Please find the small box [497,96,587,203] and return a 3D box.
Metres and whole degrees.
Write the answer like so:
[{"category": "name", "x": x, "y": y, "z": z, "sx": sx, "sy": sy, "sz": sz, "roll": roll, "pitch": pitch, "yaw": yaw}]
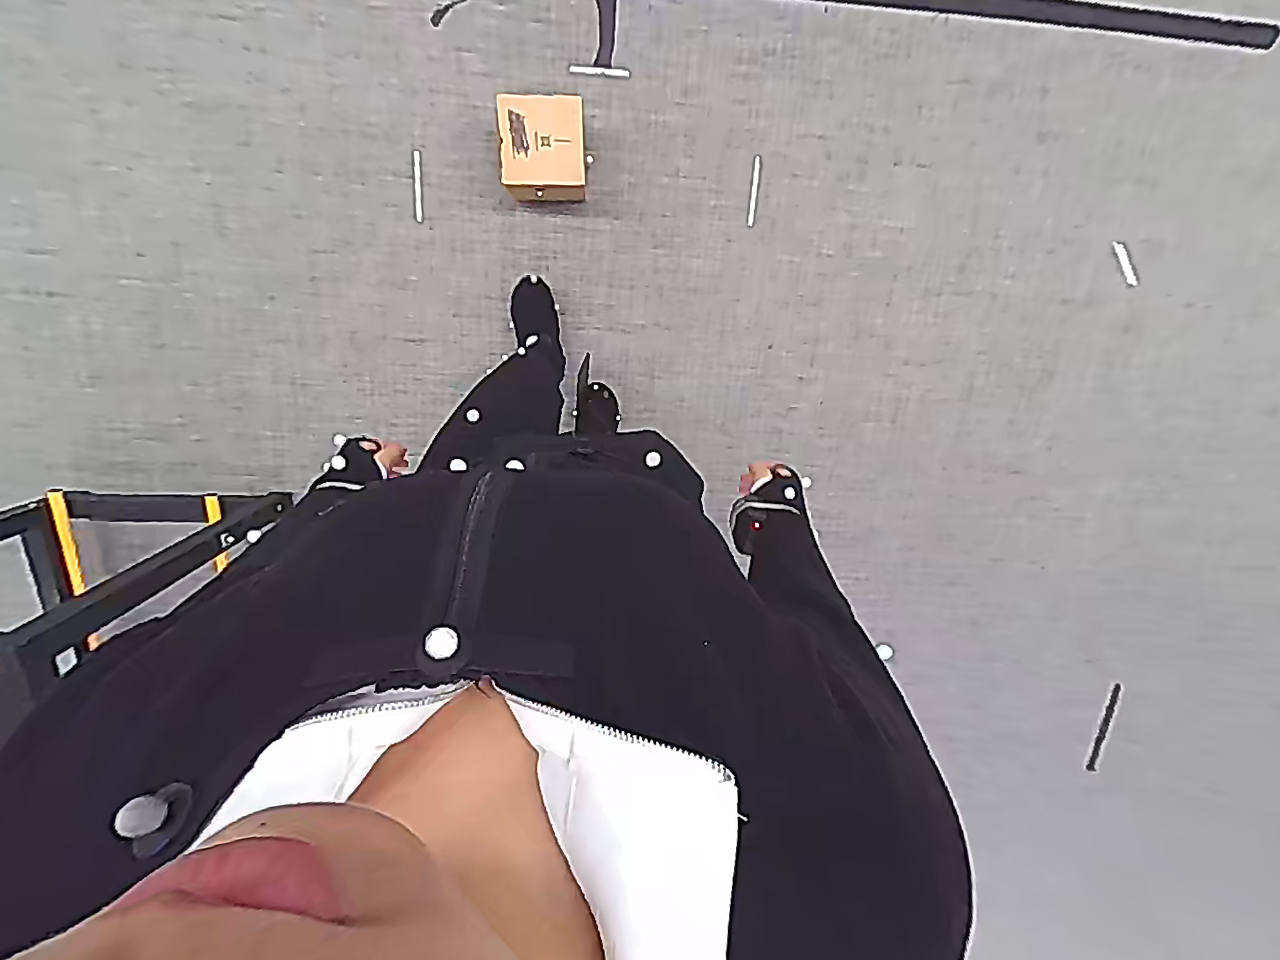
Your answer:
[{"category": "small box", "x": -0.207, "y": -0.716, "z": 1.187, "sx": 0.179, "sy": 0.176, "sz": 0.168, "roll": -1, "pitch": 107, "yaw": -4}]
